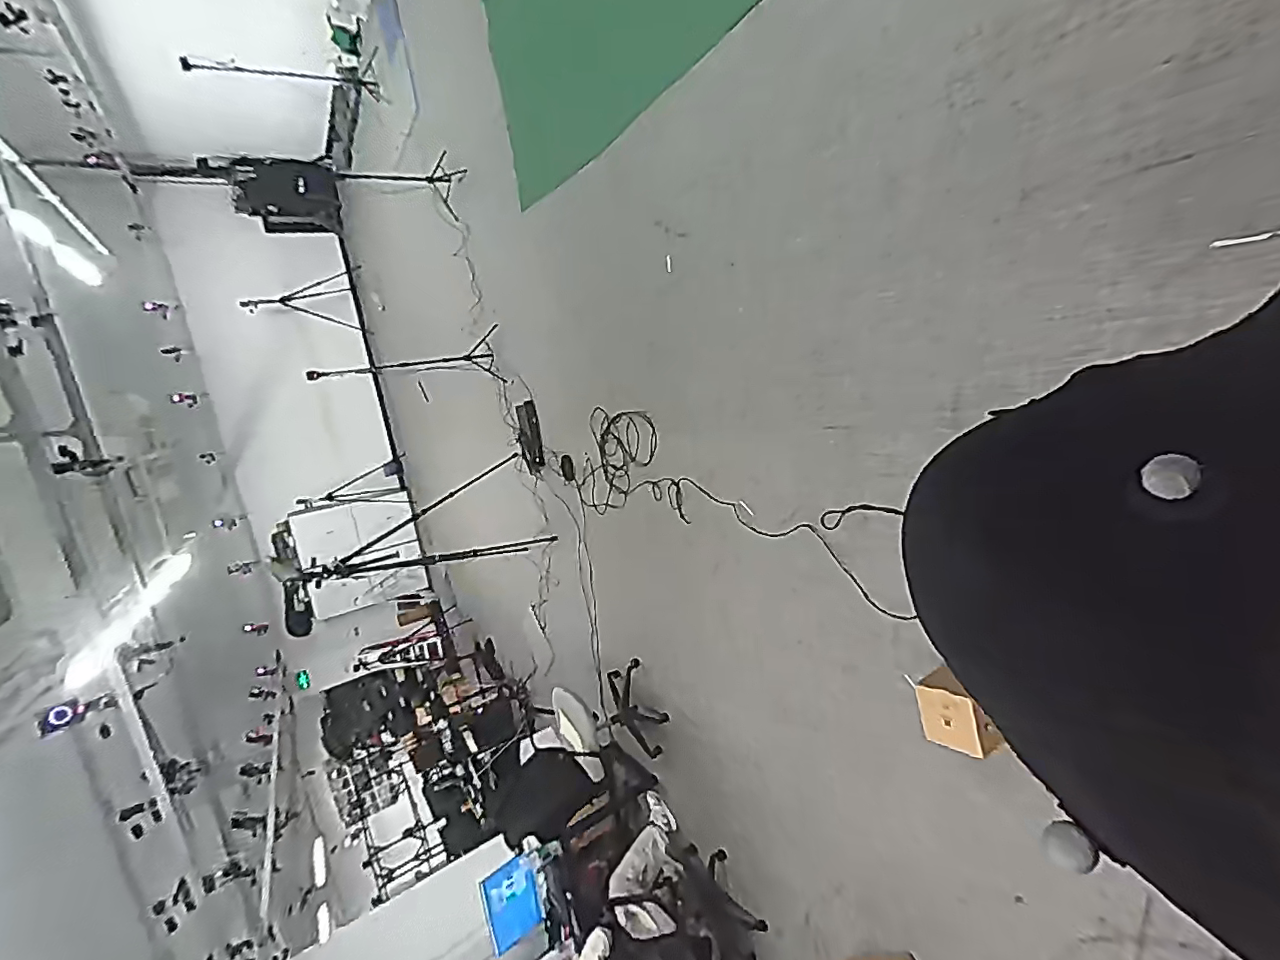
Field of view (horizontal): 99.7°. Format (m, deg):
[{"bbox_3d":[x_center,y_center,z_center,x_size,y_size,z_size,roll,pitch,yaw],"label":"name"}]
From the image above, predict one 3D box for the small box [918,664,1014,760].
[{"bbox_3d":[0.944,0.661,1.561,0.168,0.176,0.179,-9,95,59],"label":"small box"}]
